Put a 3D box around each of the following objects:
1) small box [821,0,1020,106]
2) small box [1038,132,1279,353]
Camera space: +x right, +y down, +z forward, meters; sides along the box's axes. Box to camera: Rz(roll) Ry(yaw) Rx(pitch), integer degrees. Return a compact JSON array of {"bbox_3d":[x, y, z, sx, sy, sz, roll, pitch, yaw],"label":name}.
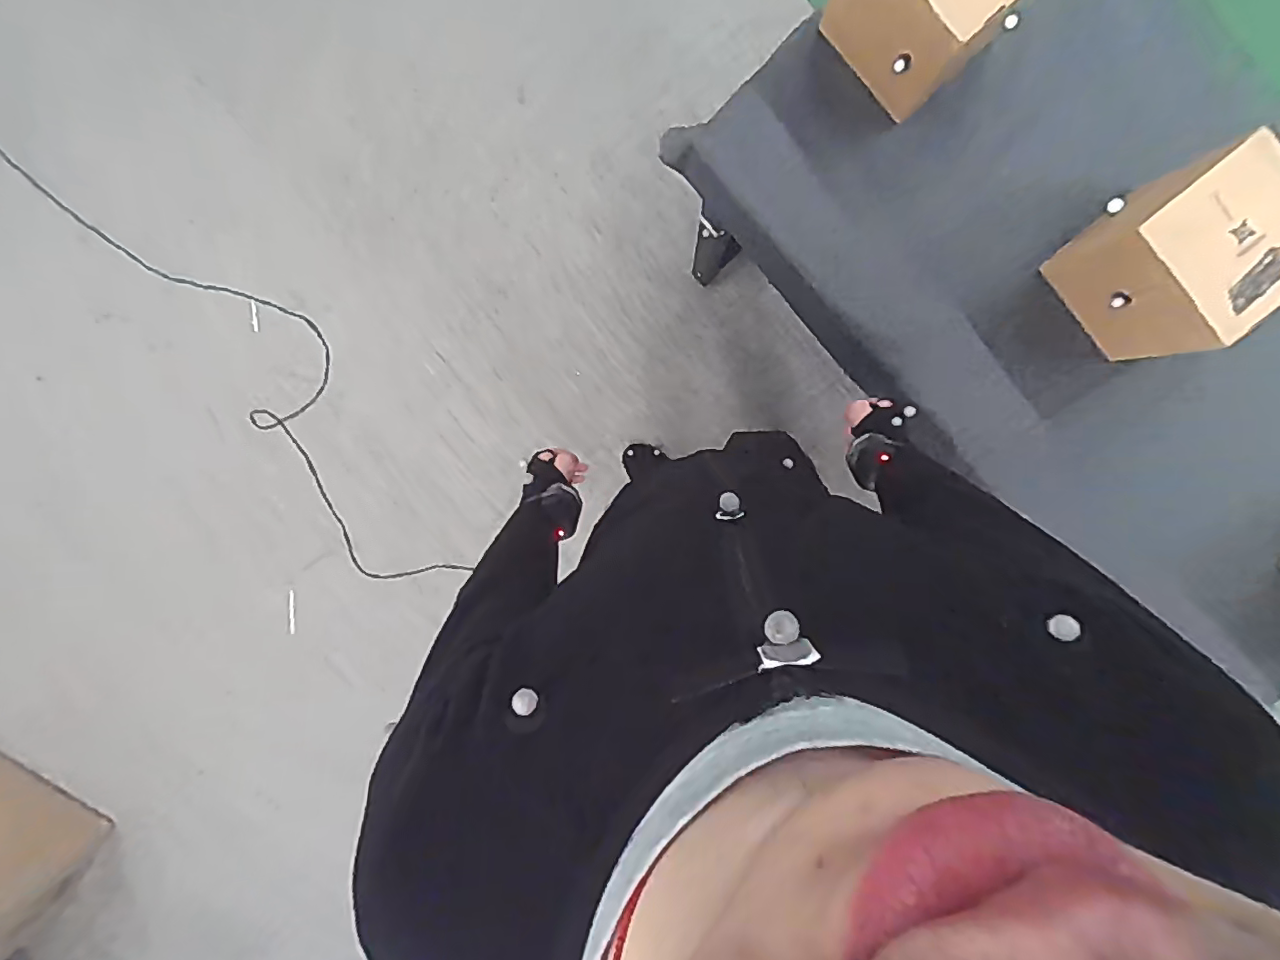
[{"bbox_3d":[0.353,-0.598,0.649,0.168,0.176,0.179,-42,94,4],"label":"small box"},{"bbox_3d":[0.669,-0.277,0.683,0.168,0.176,0.179,-40,94,5],"label":"small box"}]
